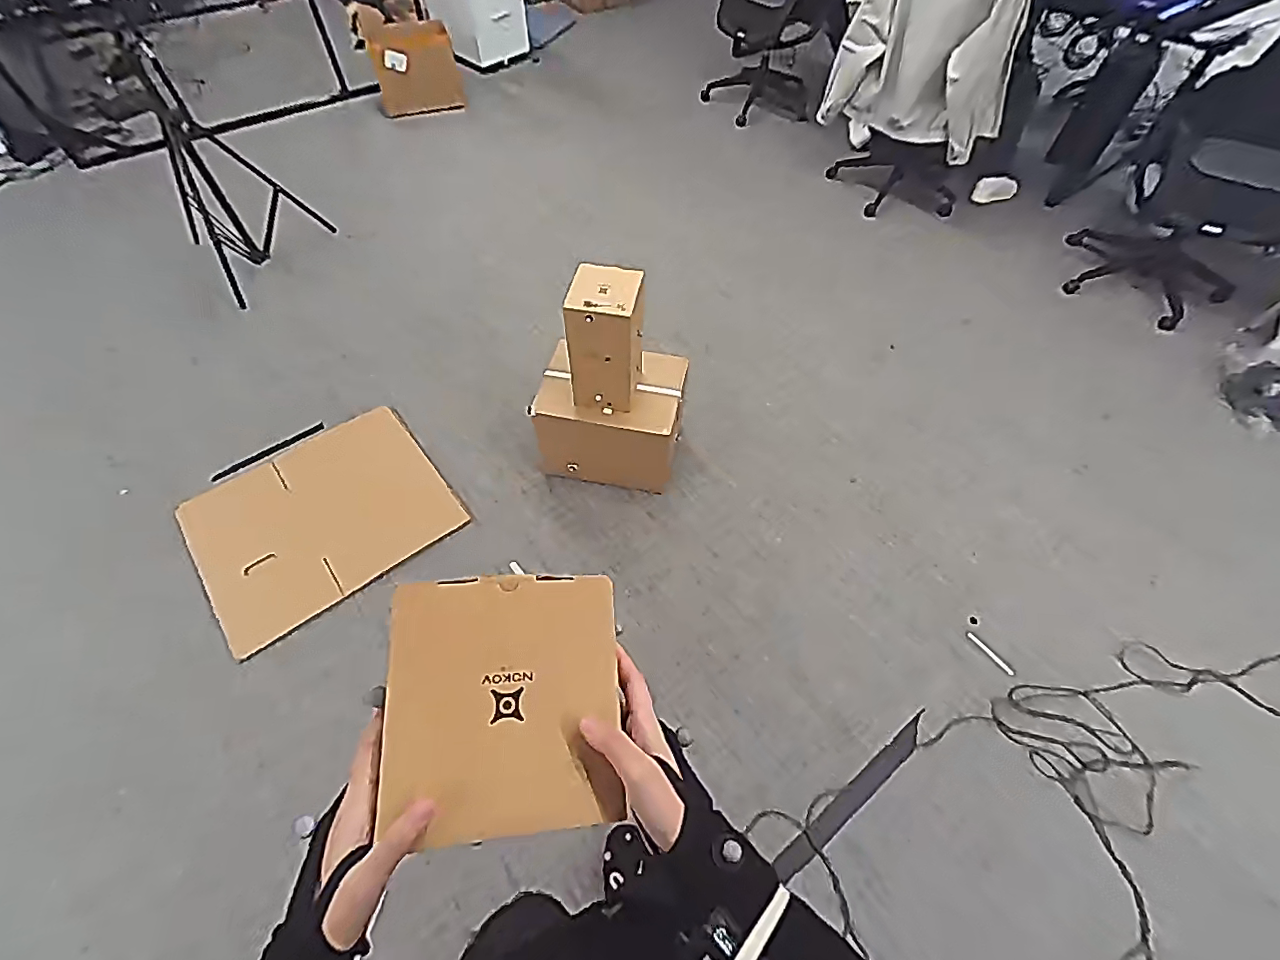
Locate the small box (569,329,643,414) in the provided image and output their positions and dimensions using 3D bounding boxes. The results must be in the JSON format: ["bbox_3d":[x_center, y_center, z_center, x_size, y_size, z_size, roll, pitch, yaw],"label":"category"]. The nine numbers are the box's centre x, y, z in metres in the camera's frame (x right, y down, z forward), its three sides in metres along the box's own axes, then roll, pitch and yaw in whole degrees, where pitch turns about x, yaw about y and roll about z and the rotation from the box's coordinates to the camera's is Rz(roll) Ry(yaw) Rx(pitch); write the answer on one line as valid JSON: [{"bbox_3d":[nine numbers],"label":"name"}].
[{"bbox_3d":[-0.091,-0.311,1.502,0.168,0.176,0.179,9,57,5],"label":"small box"}]

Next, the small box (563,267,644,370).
[{"bbox_3d":[-0.088,-0.406,1.367,0.168,0.176,0.179,9,56,6],"label":"small box"}]

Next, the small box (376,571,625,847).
[{"bbox_3d":[-0.113,0.183,0.462,0.168,0.176,0.179,1,67,-15],"label":"small box"}]
